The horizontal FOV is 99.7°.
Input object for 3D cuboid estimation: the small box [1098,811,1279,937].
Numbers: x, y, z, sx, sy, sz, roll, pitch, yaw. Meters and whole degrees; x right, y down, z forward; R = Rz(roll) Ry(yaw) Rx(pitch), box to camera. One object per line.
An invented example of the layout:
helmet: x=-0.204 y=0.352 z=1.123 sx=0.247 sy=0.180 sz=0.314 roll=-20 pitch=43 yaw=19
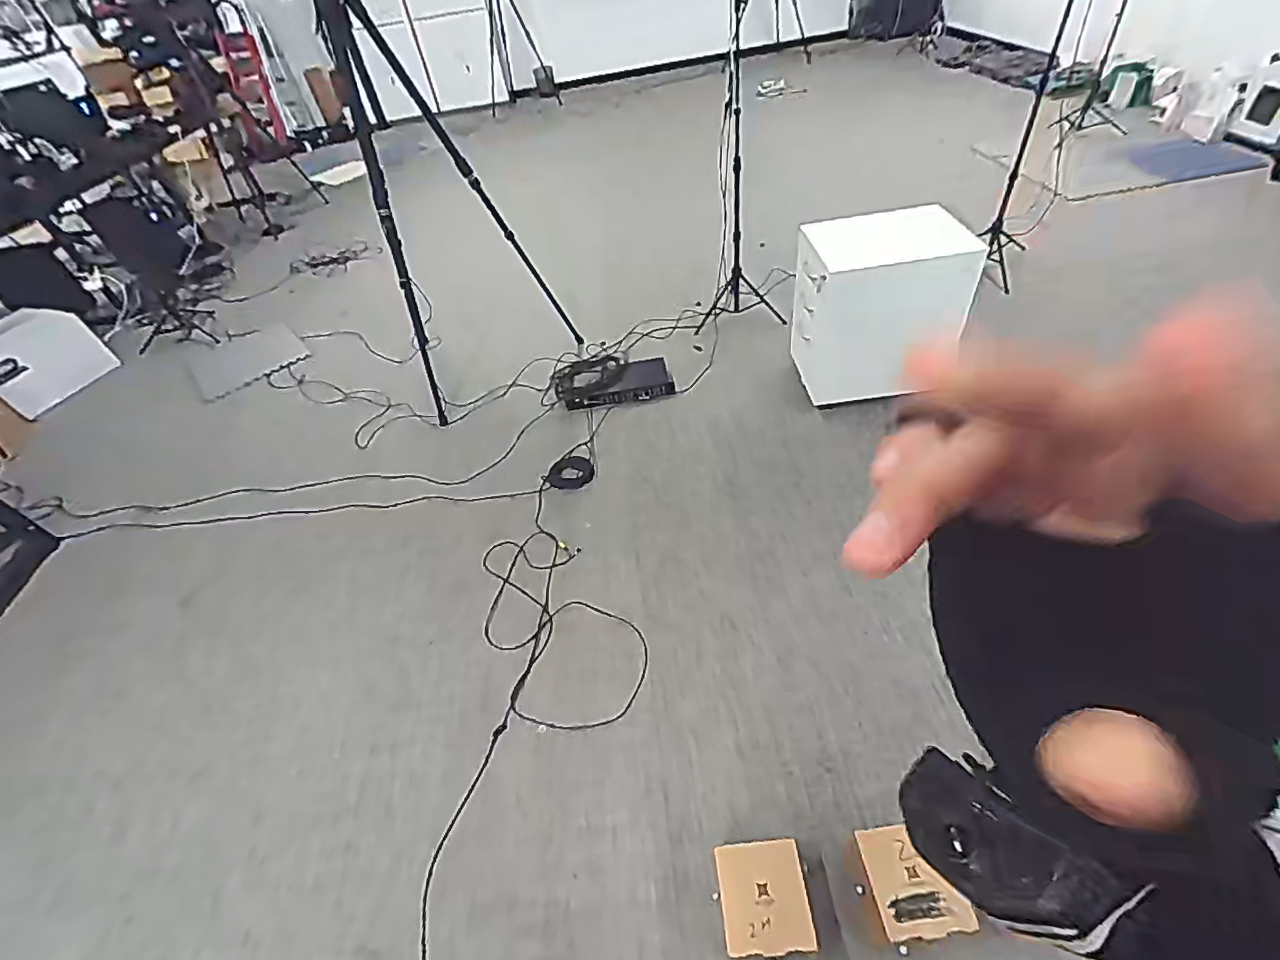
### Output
small box: x=1.053 y=0.765 z=1.044 sx=0.168 sy=0.176 sz=0.179 roll=-7 pitch=46 yaw=3

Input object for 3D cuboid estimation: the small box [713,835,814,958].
small box: x=0.241 y=0.847 z=1.097 sx=0.168 sy=0.176 sz=0.179 roll=-7 pitch=46 yaw=4

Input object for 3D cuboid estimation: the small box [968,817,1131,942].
small box: x=0.786 y=0.788 z=1.066 sx=0.168 sy=0.176 sz=0.179 roll=-6 pitch=47 yaw=3
